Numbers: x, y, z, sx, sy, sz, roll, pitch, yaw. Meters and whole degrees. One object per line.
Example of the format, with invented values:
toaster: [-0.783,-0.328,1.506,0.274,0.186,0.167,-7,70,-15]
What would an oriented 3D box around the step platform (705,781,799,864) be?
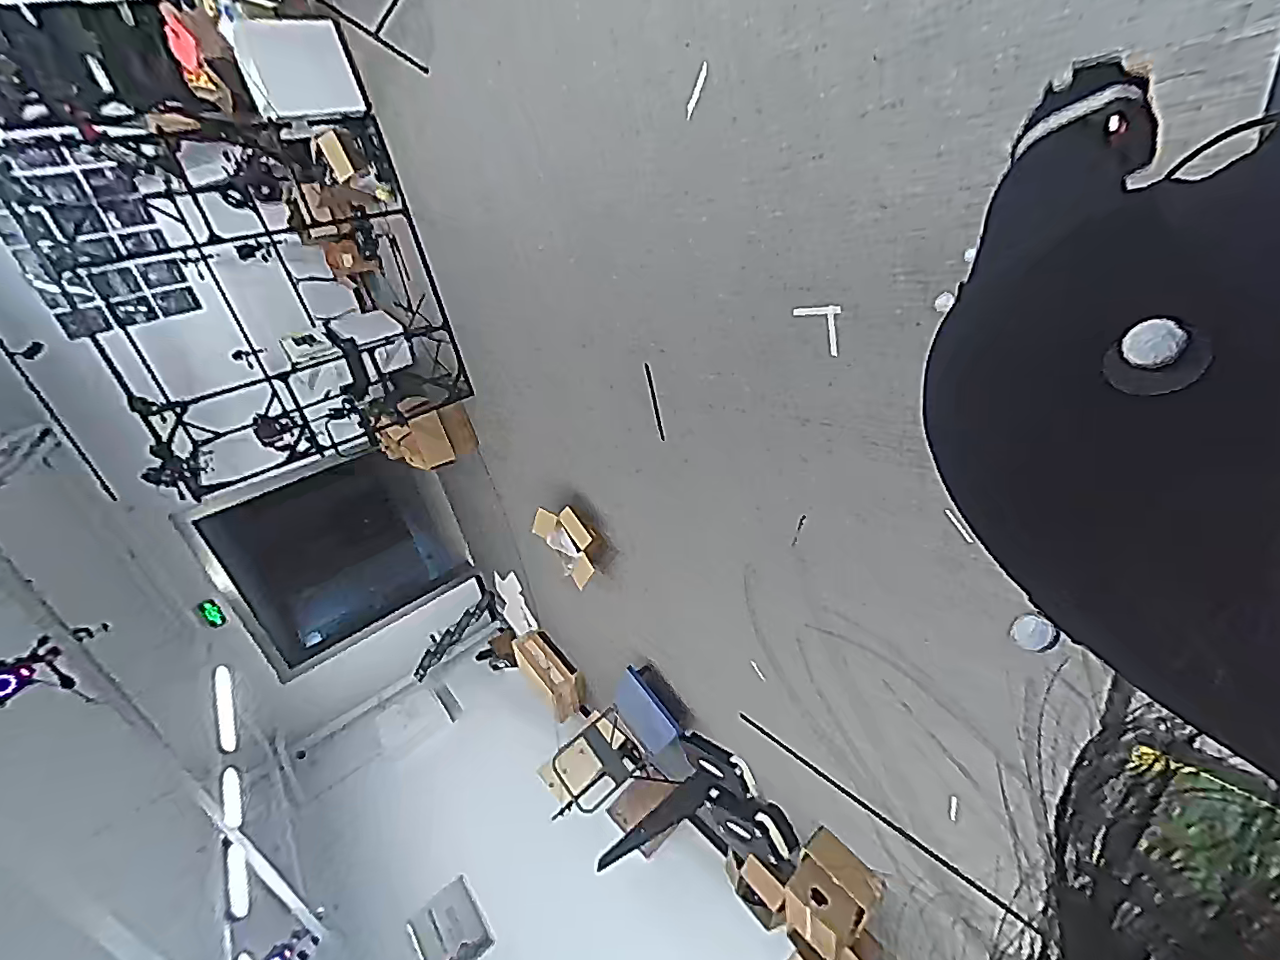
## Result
step platform: [0.729,2.294,3.642,0.286,0.204,0.684,62,149,-1]
